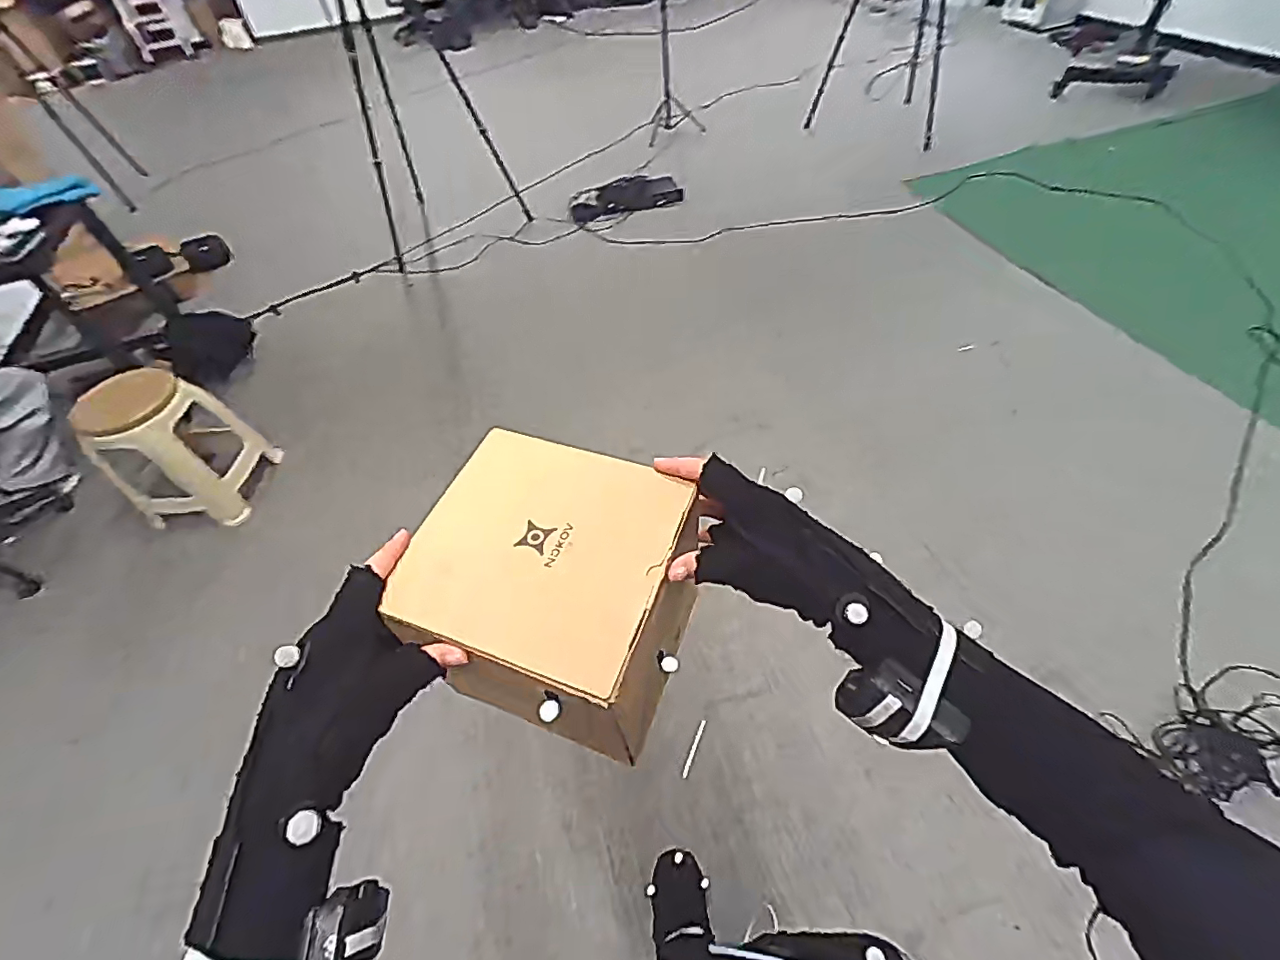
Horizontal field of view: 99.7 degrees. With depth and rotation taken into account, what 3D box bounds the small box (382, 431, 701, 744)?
[{"bbox_3d":[-0.061,0.090,0.443,0.179,0.176,0.168,17,54,16],"label":"small box"}]
